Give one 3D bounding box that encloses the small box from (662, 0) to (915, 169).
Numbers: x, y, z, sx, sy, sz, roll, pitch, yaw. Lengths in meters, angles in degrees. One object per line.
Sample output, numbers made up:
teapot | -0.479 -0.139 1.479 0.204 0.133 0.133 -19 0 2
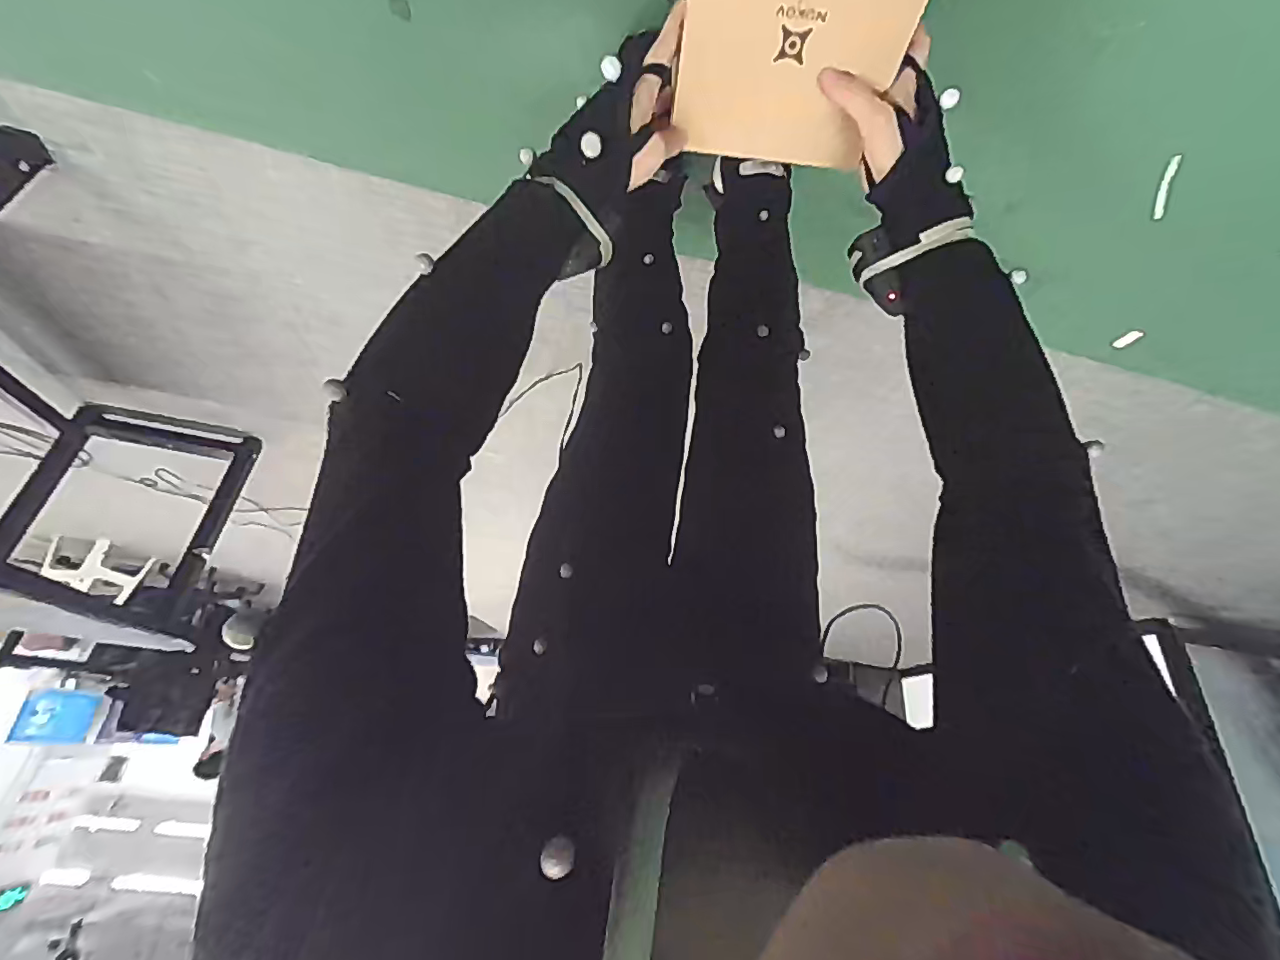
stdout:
small box | 0.114 -0.396 0.442 0.168 0.176 0.179 6 149 -2
